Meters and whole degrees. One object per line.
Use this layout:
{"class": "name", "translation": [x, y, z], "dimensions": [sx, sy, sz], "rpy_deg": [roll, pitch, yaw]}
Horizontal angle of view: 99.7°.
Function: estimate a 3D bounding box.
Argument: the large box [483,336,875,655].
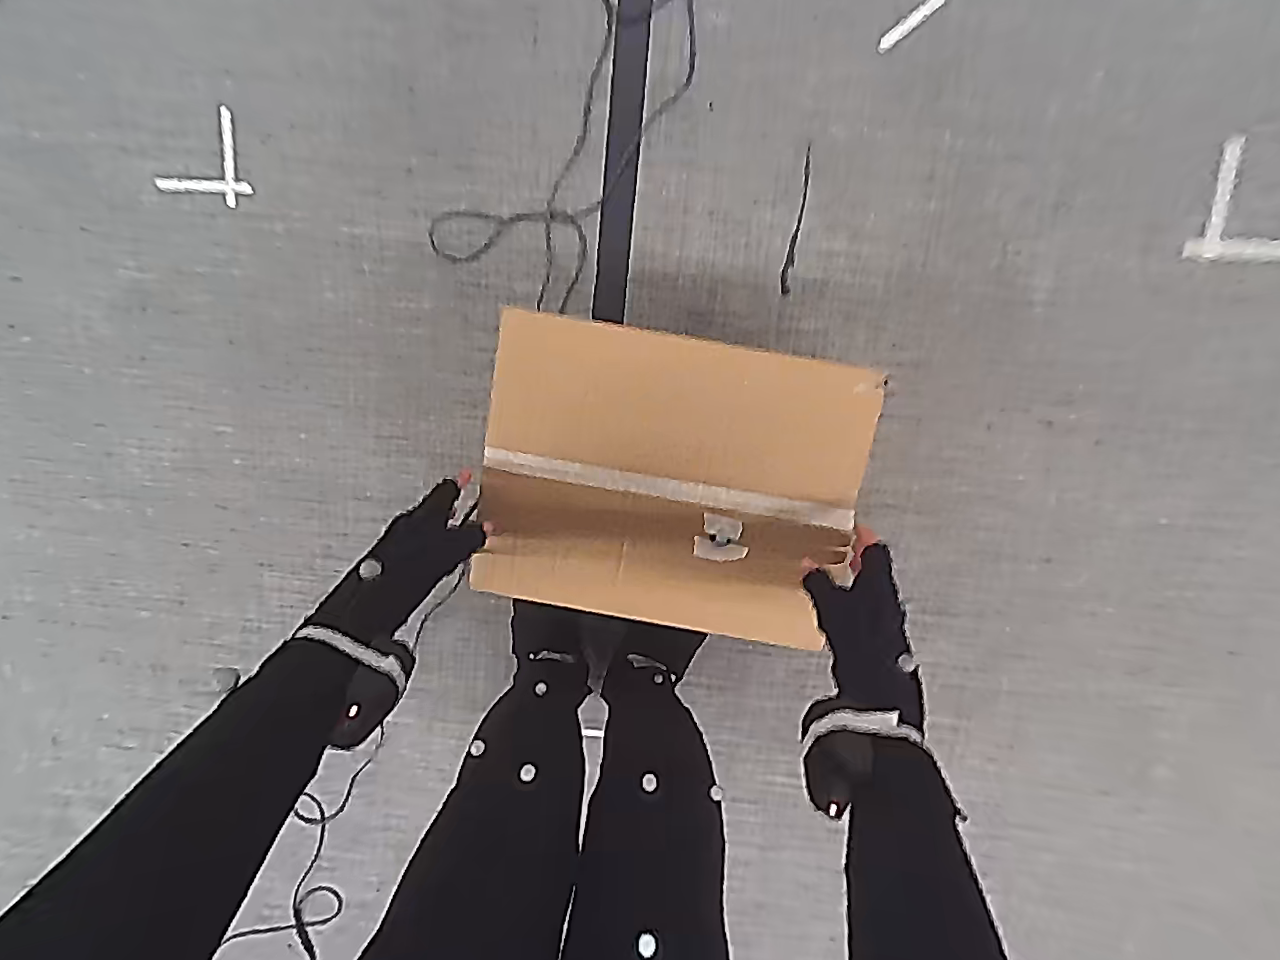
{"class": "large box", "translation": [0.037, 0.002, 0.750], "dimensions": [0.408, 0.320, 0.320], "rpy_deg": [10, 100, 0]}
